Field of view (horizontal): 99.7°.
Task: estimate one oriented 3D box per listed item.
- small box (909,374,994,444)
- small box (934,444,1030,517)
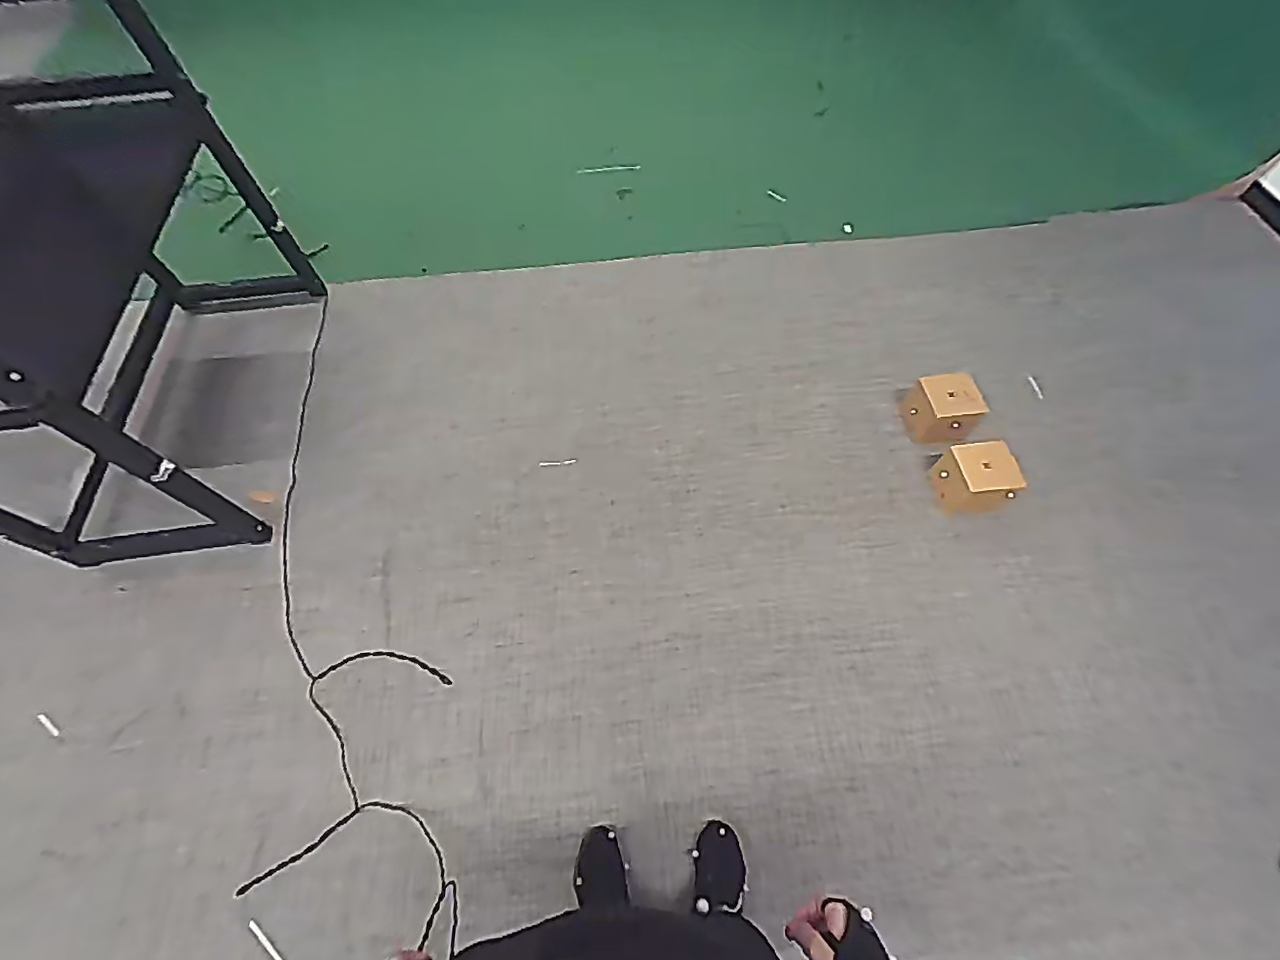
[{"bbox_3d":[1.023,-0.231,1.800,0.179,0.176,0.168,-4,62,-2],"label":"small box"},{"bbox_3d":[1.046,0.006,1.676,0.179,0.176,0.168,-4,62,-2],"label":"small box"}]
